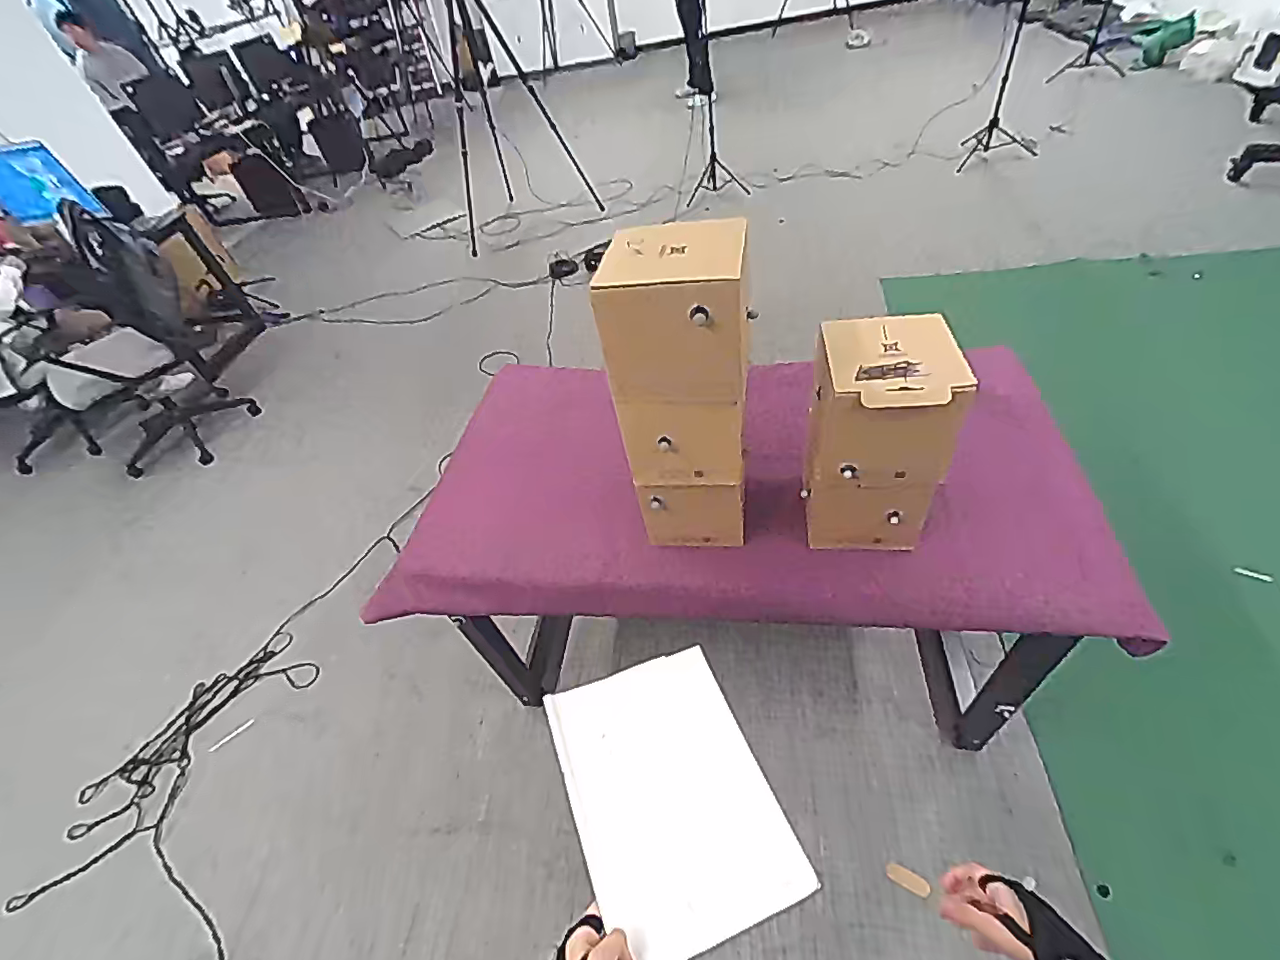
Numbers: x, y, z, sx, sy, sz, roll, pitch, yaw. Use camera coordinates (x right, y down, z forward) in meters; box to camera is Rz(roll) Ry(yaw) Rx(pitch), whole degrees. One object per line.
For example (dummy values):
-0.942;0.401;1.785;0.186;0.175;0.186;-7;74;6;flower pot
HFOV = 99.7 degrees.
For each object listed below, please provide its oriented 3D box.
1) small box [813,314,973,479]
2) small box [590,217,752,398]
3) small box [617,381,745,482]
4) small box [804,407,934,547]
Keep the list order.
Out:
0.344;-0.114;0.774;0.168;0.176;0.179;0;46;11;small box
0.054;-0.219;0.707;0.179;0.176;0.168;2;46;15;small box
0.073;-0.111;0.830;0.168;0.176;0.179;0;46;13;small box
0.365;-0.005;0.894;0.168;0.176;0.179;1;46;12;small box
